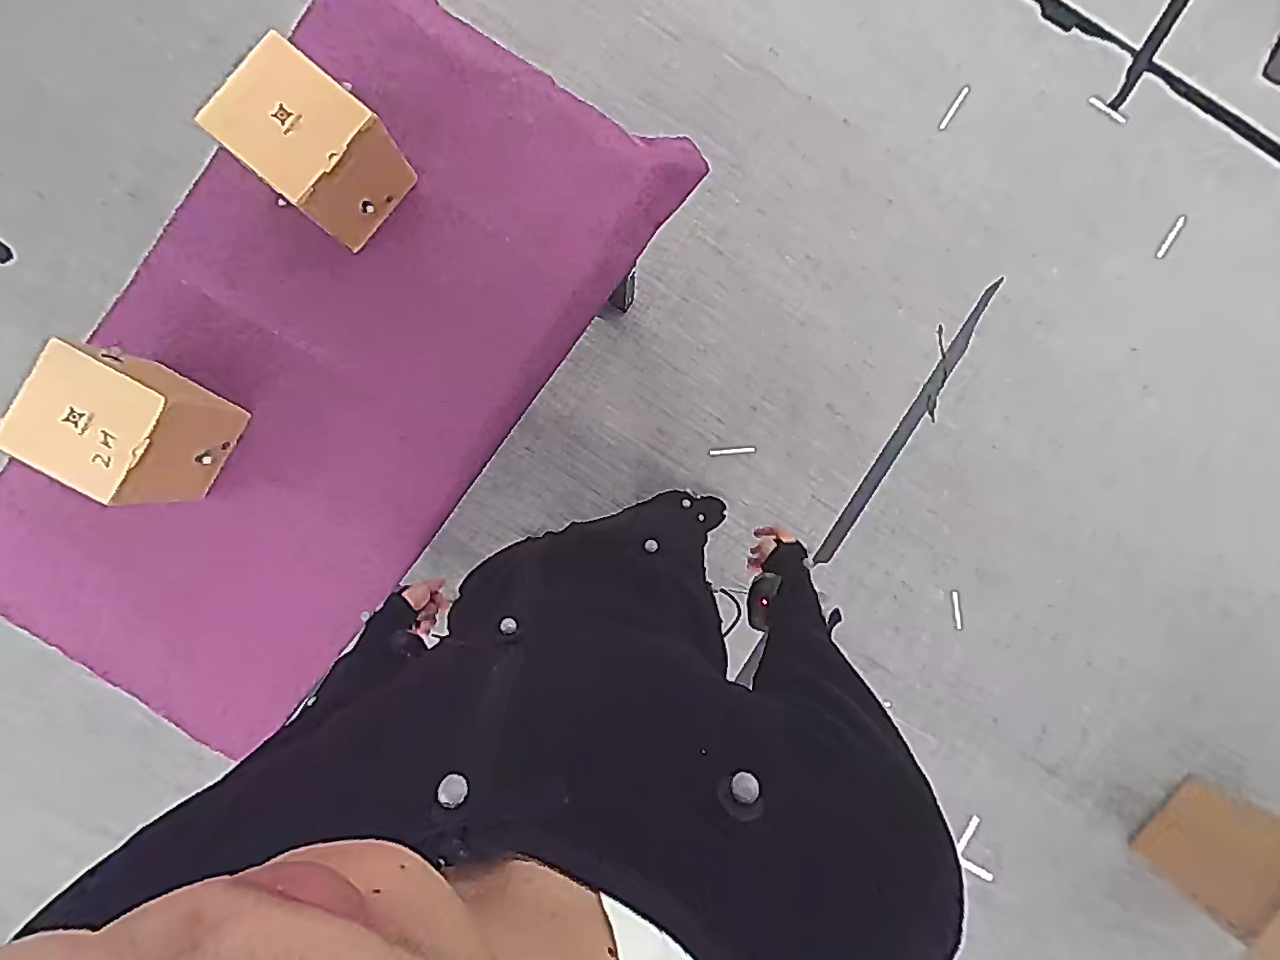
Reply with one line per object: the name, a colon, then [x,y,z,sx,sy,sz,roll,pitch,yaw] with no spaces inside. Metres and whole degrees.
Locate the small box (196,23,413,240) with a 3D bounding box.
small box: [-0.480,-0.497,0.804,0.179,0.176,0.168,39,89,-3]

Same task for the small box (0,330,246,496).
small box: [-0.744,-0.087,0.792,0.179,0.176,0.168,30,89,-3]
